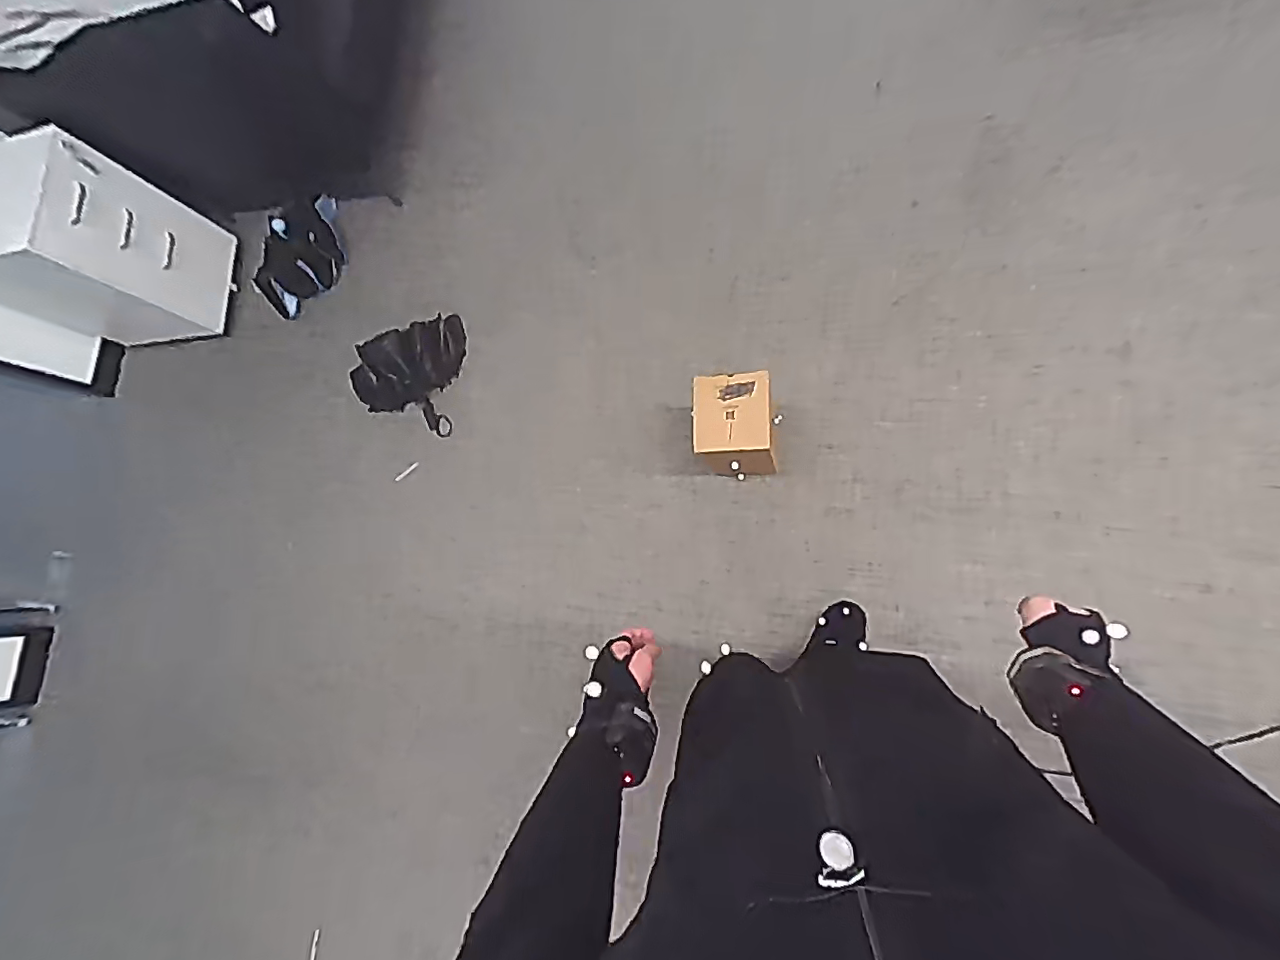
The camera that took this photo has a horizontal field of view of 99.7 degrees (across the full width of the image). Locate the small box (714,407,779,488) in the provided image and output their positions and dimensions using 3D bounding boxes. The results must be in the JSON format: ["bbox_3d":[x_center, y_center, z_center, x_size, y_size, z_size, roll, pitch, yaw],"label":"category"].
[{"bbox_3d":[0.270,-0.079,1.400,0.168,0.176,0.179,-1,80,17],"label":"small box"}]

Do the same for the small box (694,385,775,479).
[{"bbox_3d":[0.221,-0.104,1.244,0.168,0.176,0.179,-1,79,17],"label":"small box"}]
